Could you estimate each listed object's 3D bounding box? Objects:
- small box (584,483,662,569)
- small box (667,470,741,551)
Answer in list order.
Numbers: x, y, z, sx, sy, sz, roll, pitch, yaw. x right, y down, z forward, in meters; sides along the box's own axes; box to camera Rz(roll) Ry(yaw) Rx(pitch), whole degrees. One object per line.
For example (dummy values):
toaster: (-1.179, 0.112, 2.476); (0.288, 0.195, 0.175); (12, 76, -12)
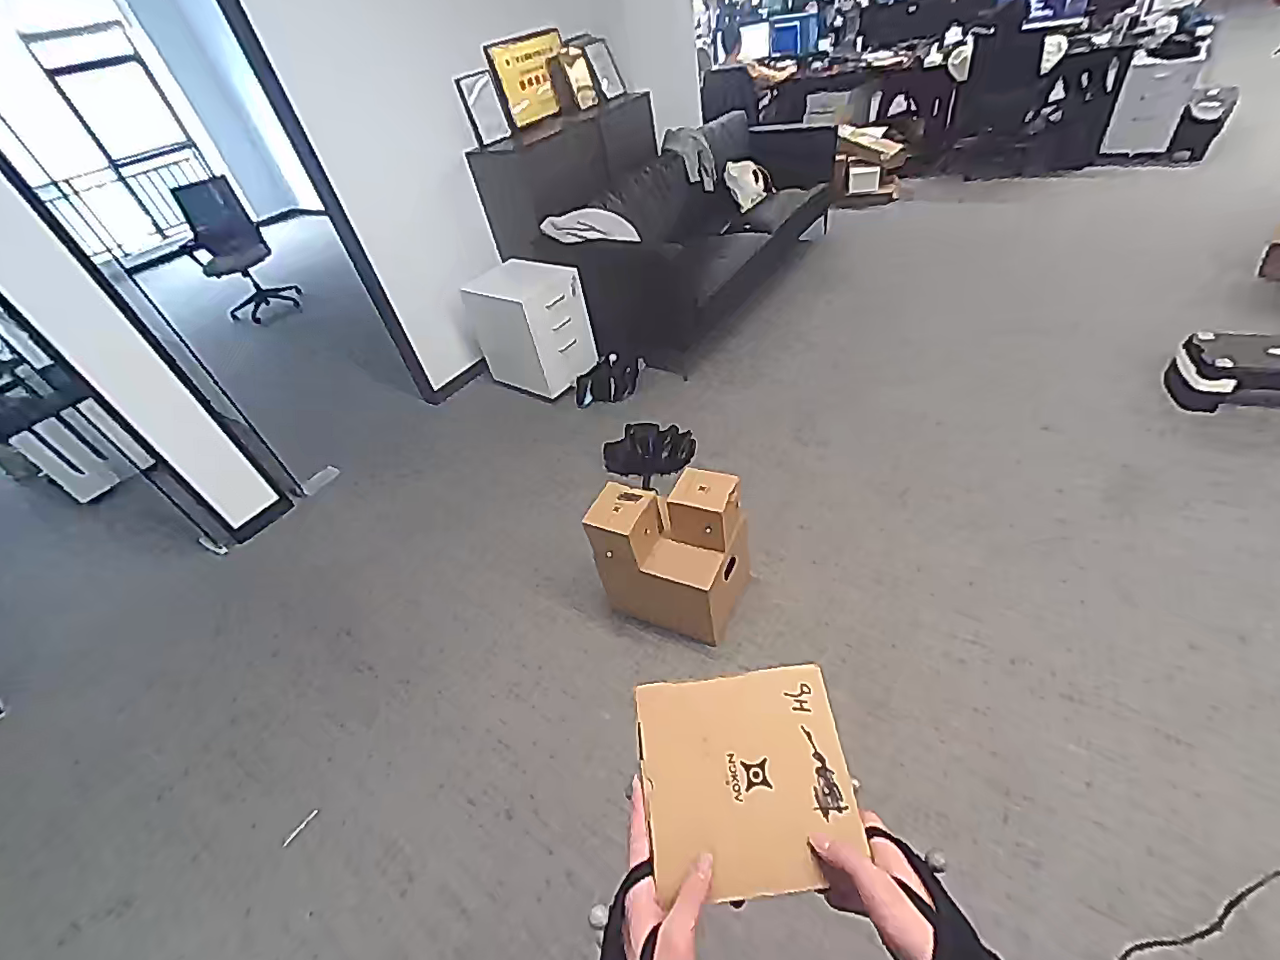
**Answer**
small box: (-0.043, 0.142, 1.665); (0.168, 0.176, 0.179); (14, 51, 28)
small box: (0.204, 0.094, 1.654); (0.179, 0.176, 0.168); (9, 43, 25)
